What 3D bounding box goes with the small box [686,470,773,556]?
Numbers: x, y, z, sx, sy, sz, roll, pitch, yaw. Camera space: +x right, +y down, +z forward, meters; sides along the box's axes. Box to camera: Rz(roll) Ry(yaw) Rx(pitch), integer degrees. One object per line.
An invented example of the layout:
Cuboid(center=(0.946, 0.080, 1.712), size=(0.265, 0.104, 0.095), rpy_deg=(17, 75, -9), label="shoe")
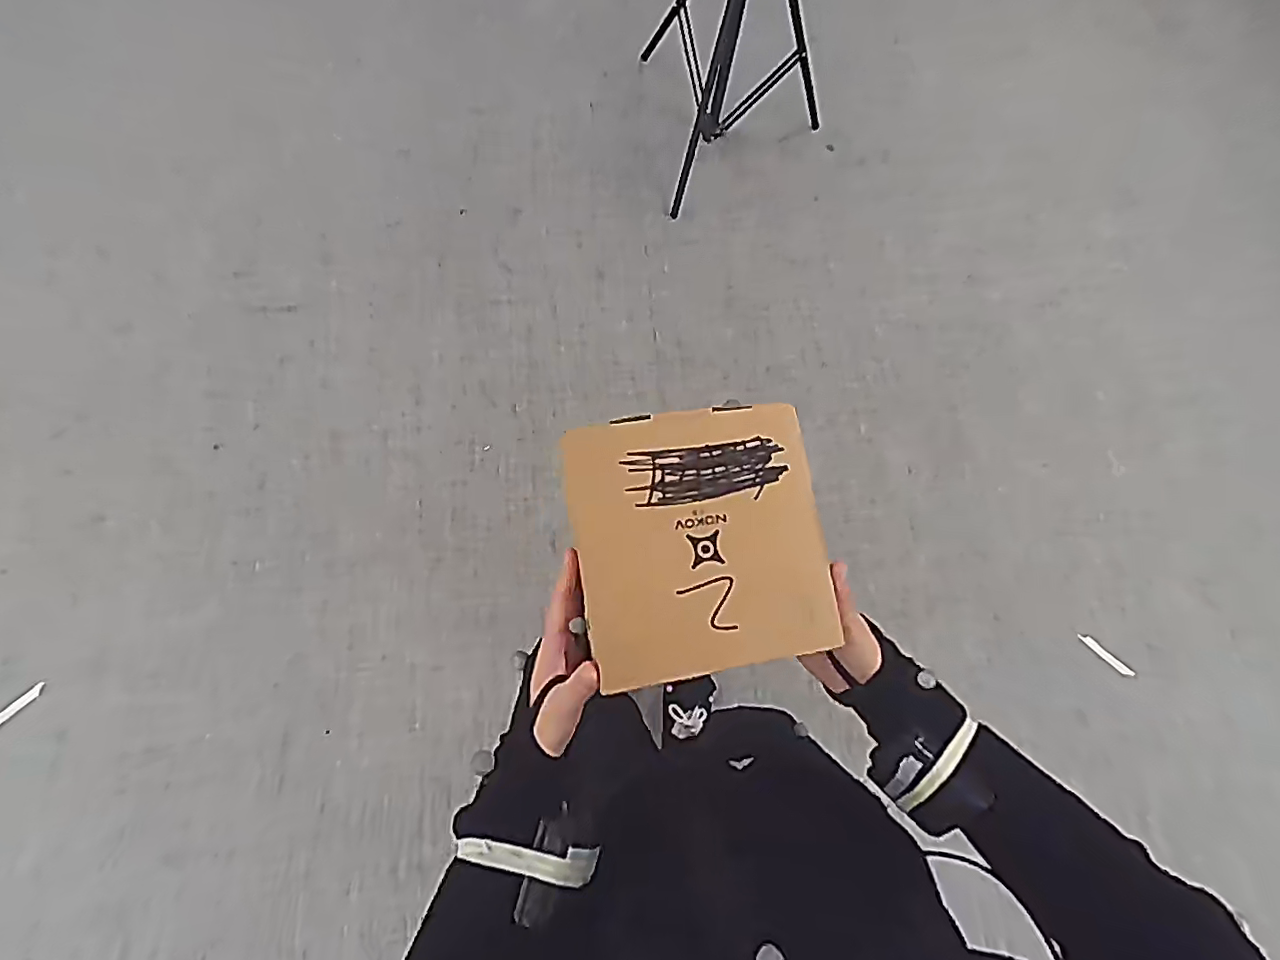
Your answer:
Cuboid(center=(0.213, 0.086, 1.337), size=(0.168, 0.176, 0.179), rpy_deg=(-5, 76, -5), label="small box")
